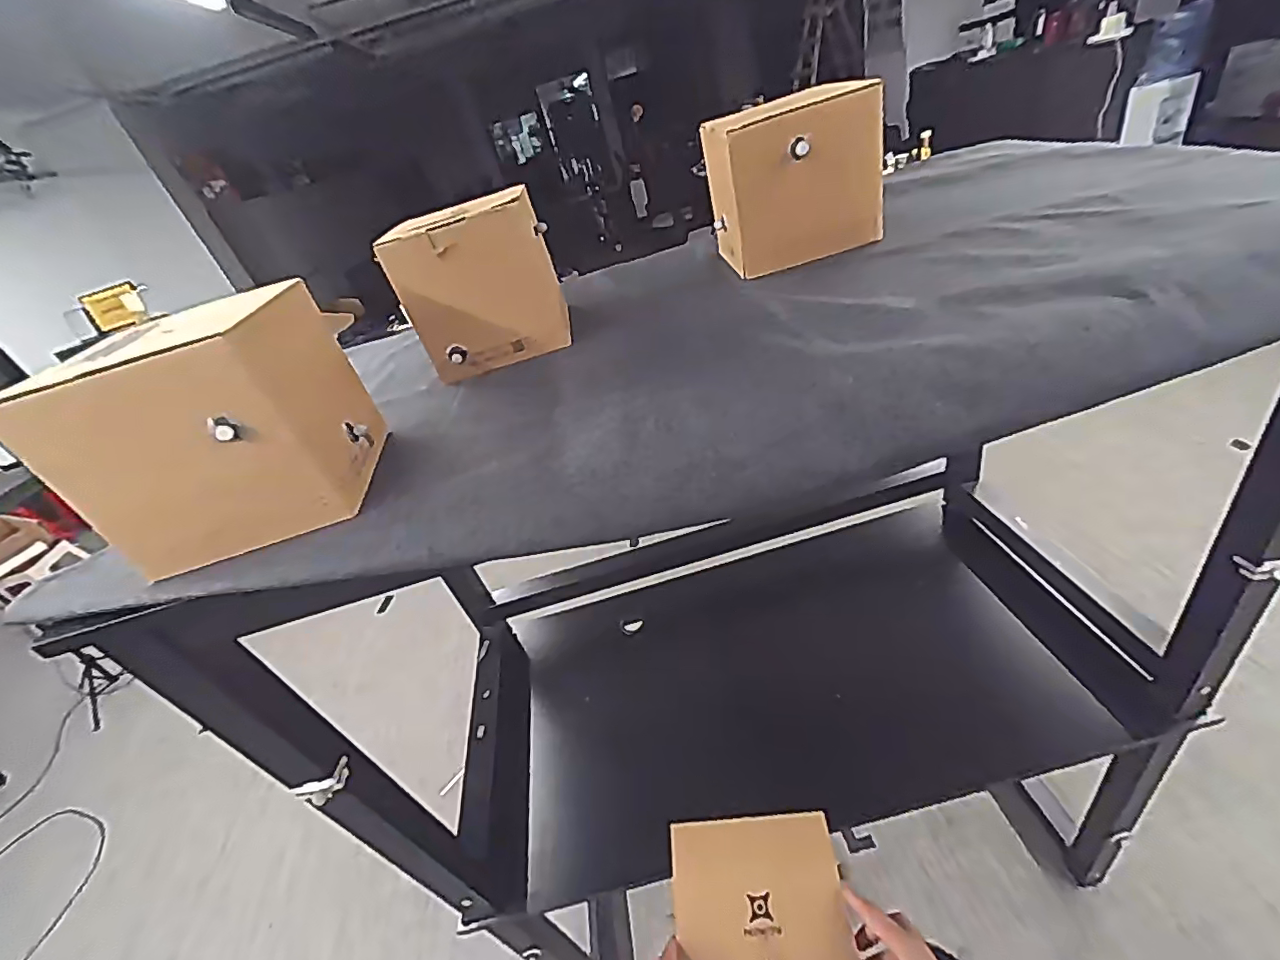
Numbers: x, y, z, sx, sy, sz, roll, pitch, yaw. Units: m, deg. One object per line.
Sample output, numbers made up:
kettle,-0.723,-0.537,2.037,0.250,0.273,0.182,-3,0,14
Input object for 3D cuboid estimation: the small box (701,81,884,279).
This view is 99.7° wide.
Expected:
small box,0.190,-0.381,0.690,0.179,0.176,0.168,-16,34,5

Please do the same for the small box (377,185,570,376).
small box,-0.192,-0.248,0.681,0.168,0.176,0.179,-17,33,2

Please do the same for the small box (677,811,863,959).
small box,0.133,0.475,0.561,0.168,0.176,0.179,-9,39,7
